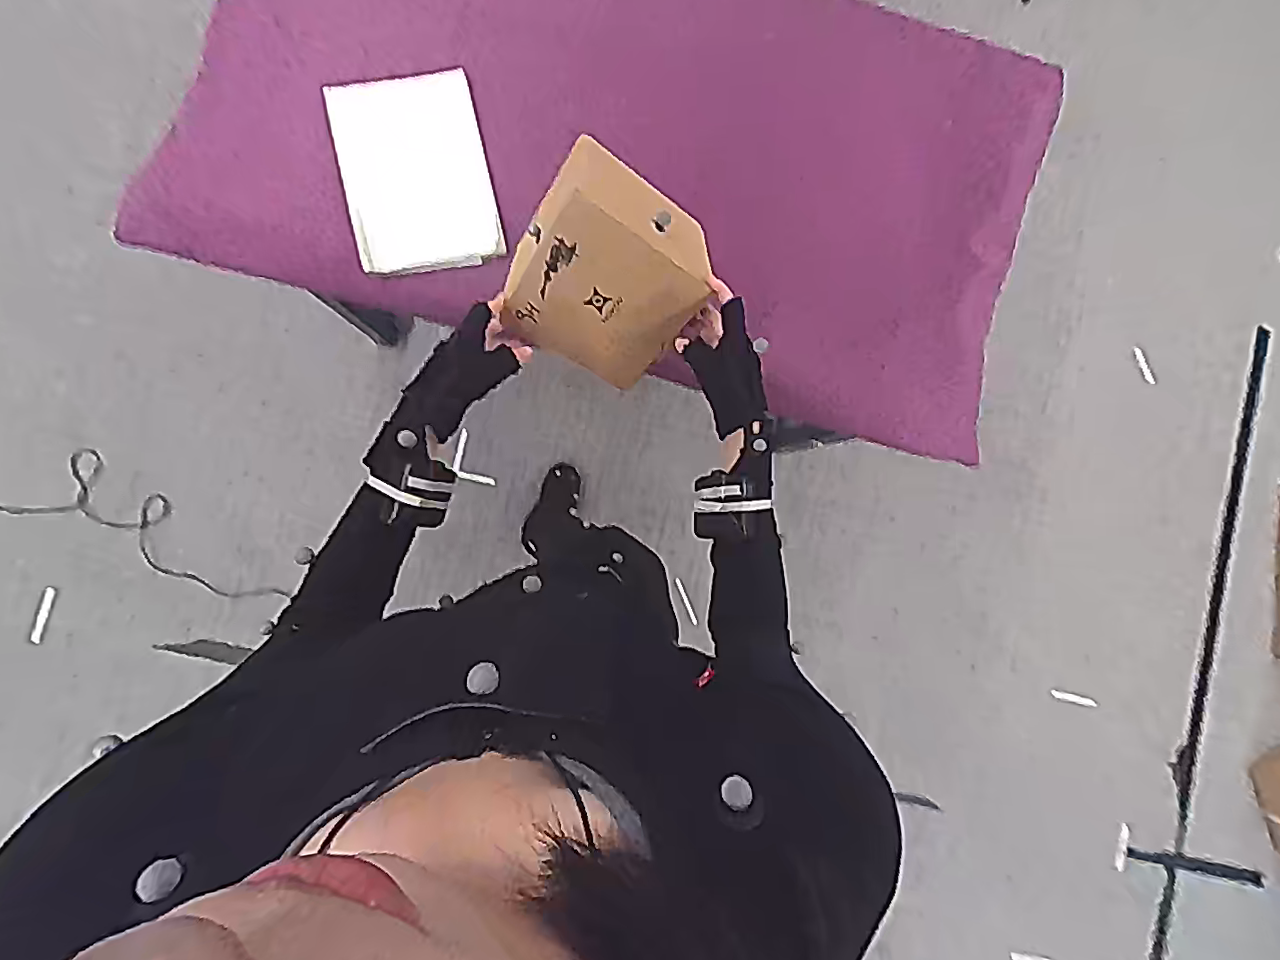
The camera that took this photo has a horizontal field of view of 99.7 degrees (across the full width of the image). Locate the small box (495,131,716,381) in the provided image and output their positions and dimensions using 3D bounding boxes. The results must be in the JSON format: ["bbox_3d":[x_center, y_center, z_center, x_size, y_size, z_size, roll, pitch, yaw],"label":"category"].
[{"bbox_3d":[-0.038,-0.254,0.615,0.179,0.168,0.176,26,40,-26],"label":"small box"}]
